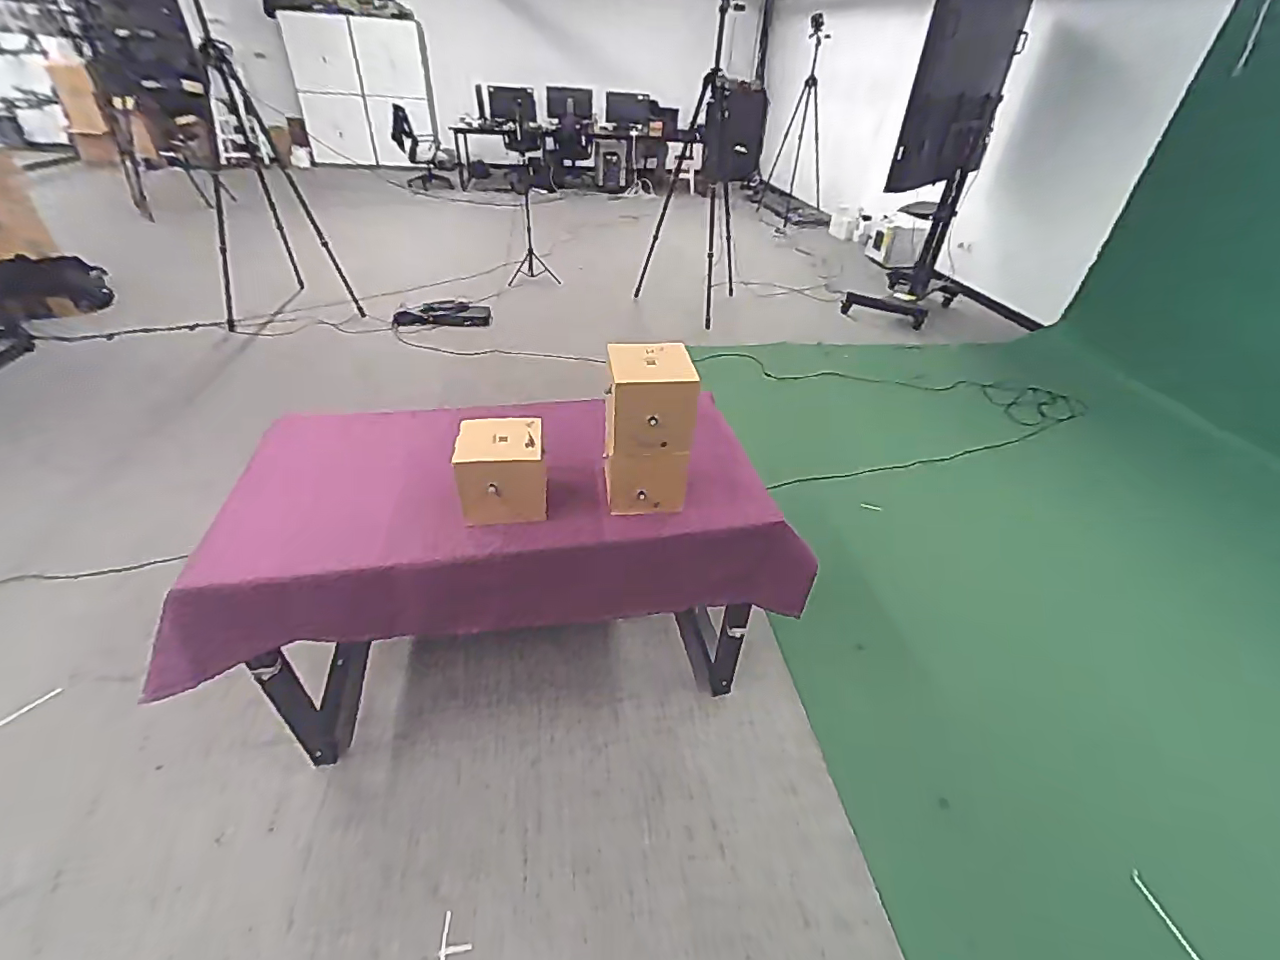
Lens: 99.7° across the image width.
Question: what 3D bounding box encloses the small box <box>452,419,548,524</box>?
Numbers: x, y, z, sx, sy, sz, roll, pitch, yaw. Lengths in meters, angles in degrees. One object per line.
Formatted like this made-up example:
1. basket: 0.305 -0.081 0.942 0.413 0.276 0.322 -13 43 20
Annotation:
1. small box: -0.297 -0.017 1.186 0.179 0.176 0.168 -3 38 -7

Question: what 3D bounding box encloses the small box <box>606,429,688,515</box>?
1. small box: 0.008 -0.038 1.241 0.168 0.176 0.179 -2 38 -7

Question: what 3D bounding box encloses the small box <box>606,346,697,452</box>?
1. small box: 0.018 -0.169 1.141 0.168 0.176 0.179 -2 38 -8
